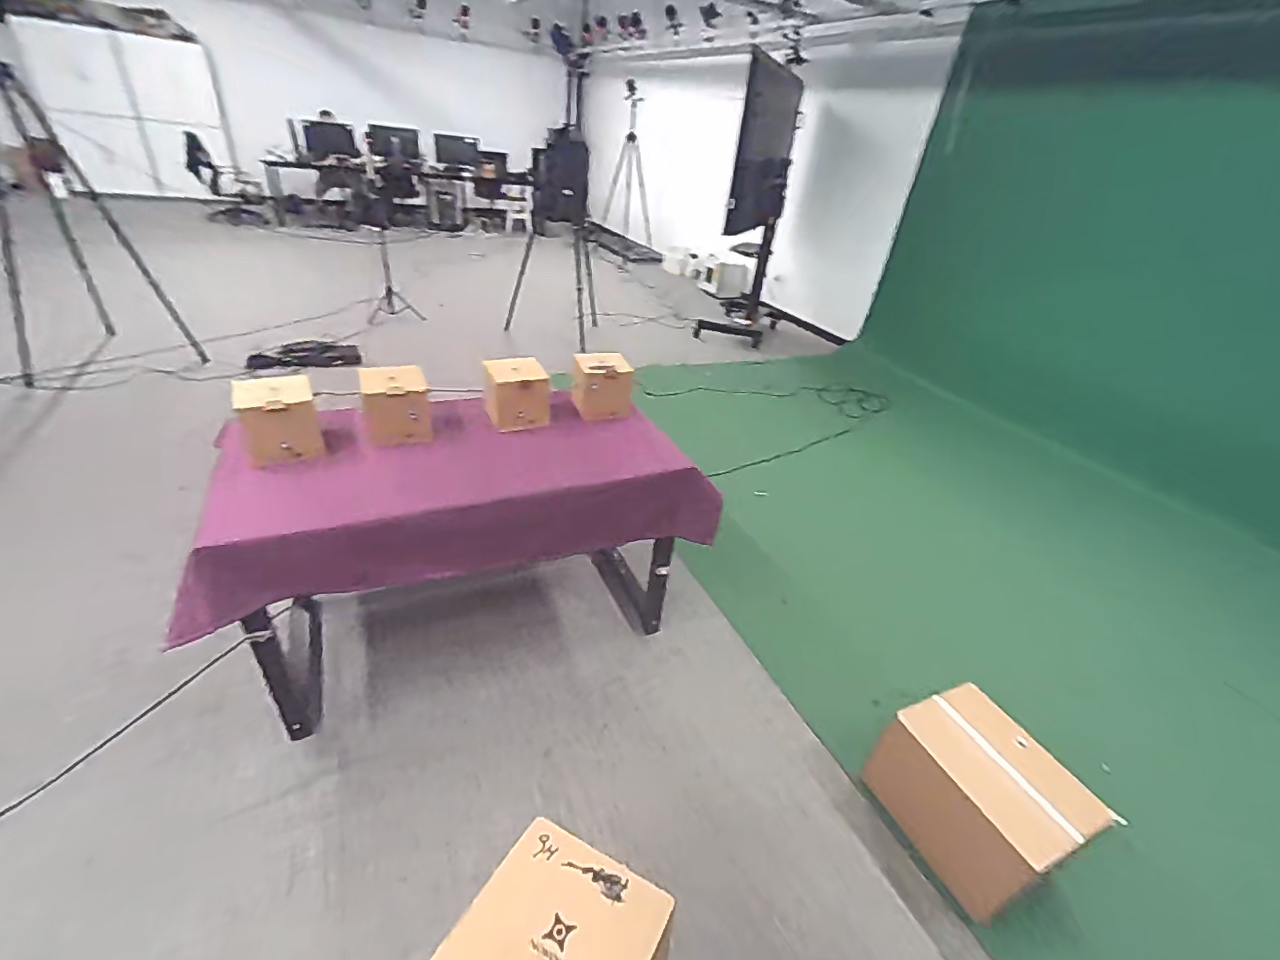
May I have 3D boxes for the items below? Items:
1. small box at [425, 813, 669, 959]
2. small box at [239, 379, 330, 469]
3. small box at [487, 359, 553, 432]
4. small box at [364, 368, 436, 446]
[{"bbox_3d":[-0.085,0.478,0.511,0.168,0.176,0.179,16,27,24],"label":"small box"},{"bbox_3d":[-0.929,-0.149,1.419,0.168,0.176,0.179,-13,38,-28],"label":"small box"},{"bbox_3d":[-0.382,-0.268,1.708,0.168,0.176,0.179,-11,37,-26],"label":"small box"},{"bbox_3d":[-0.691,-0.208,1.557,0.168,0.176,0.179,-9,36,-25],"label":"small box"}]
